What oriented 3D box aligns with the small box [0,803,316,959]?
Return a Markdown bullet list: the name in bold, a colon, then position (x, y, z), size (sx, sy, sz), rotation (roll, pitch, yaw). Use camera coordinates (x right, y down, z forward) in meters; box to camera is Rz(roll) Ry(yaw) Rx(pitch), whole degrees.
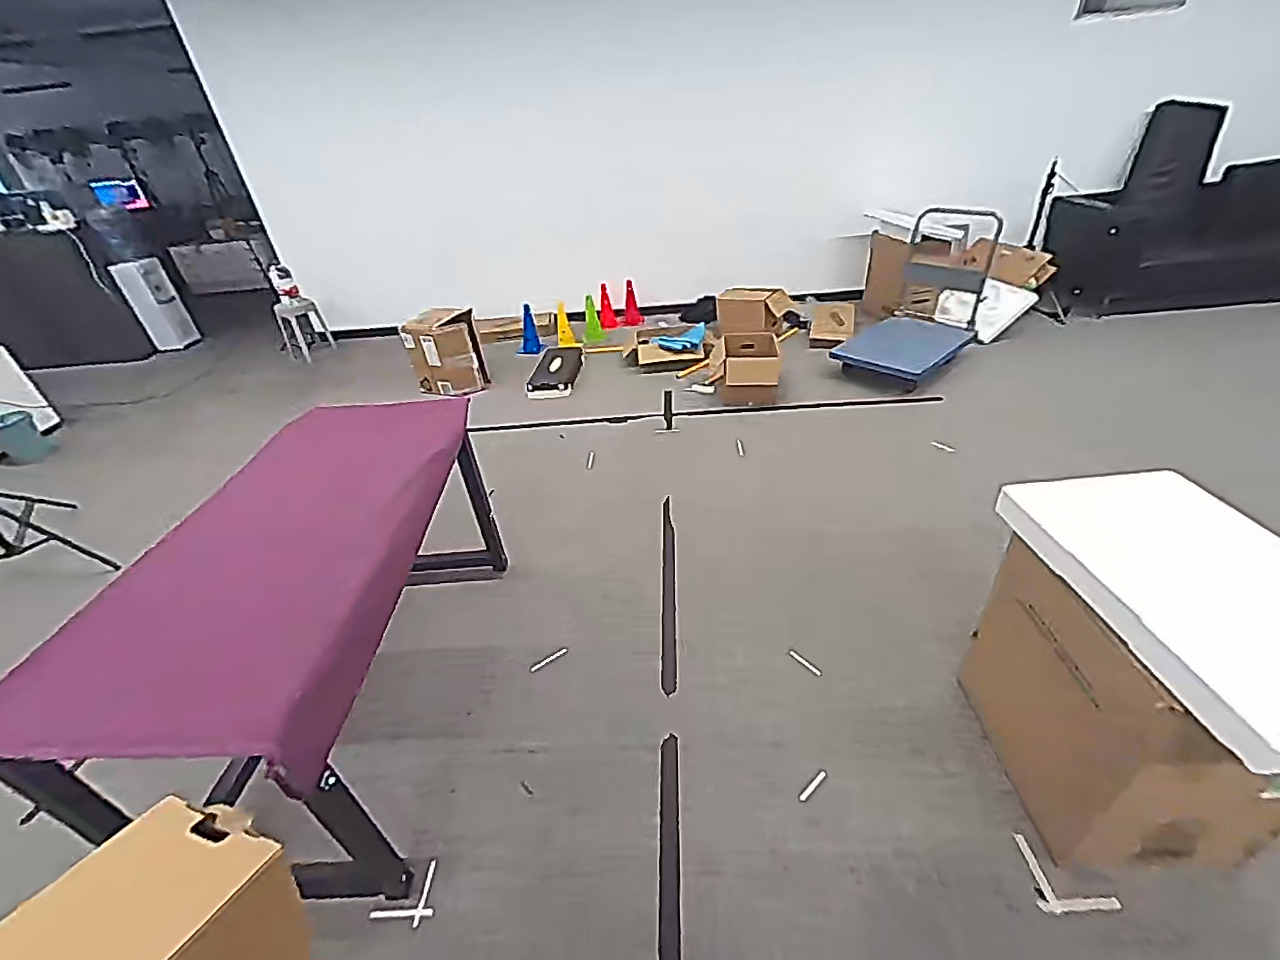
- **small box**: position (-0.429, 0.442, 0.480), size (0.168, 0.176, 0.179), rotation (6, 20, 19)
